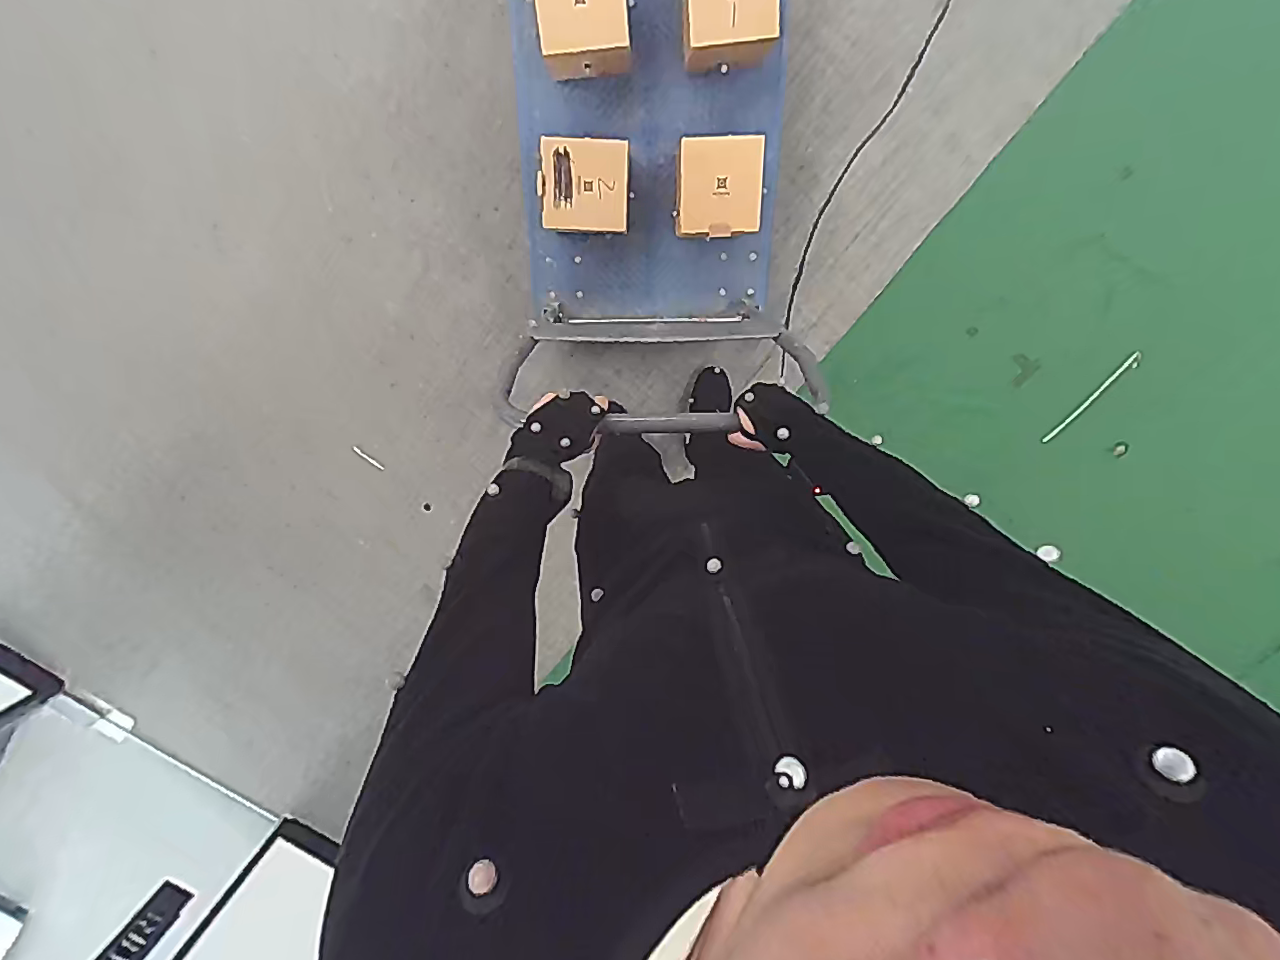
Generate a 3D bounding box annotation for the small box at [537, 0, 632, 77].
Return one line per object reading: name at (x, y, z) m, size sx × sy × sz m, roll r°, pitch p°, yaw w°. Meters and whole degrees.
small box at (-0.104, -0.903, 1.041) m, size 0.168 × 0.176 × 0.179 m, roll -5°, pitch 113°, yaw 1°

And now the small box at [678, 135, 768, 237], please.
small box at (0.169, -0.622, 1.160) m, size 0.168 × 0.176 × 0.179 m, roll -1°, pitch 114°, yaw 1°

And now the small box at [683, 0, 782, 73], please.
small box at (0.172, -0.914, 1.034) m, size 0.168 × 0.176 × 0.179 m, roll -4°, pitch 114°, yaw 3°
